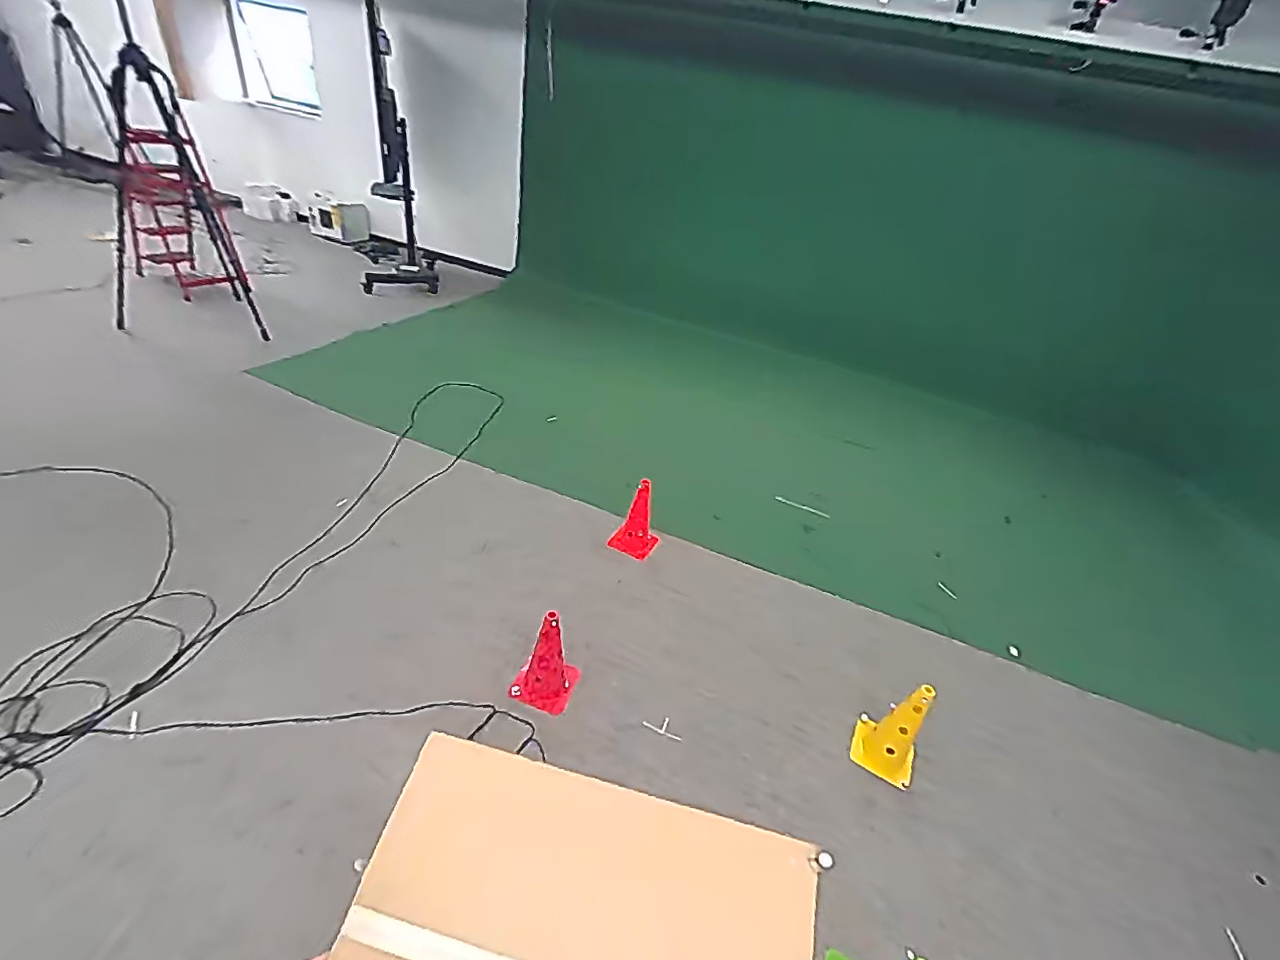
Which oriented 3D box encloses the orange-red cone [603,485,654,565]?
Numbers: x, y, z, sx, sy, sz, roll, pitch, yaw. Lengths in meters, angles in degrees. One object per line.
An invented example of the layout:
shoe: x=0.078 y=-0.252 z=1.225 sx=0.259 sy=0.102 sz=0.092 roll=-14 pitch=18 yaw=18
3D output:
orange-red cone: x=-0.027 y=0.179 z=2.486 sx=0.199 sy=0.360 sz=0.198 roll=22 pitch=34 yaw=19

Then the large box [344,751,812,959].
large box: x=-0.069 y=0.529 z=0.576 sx=0.408 sy=0.320 sz=0.320 roll=13 pitch=55 yaw=5
